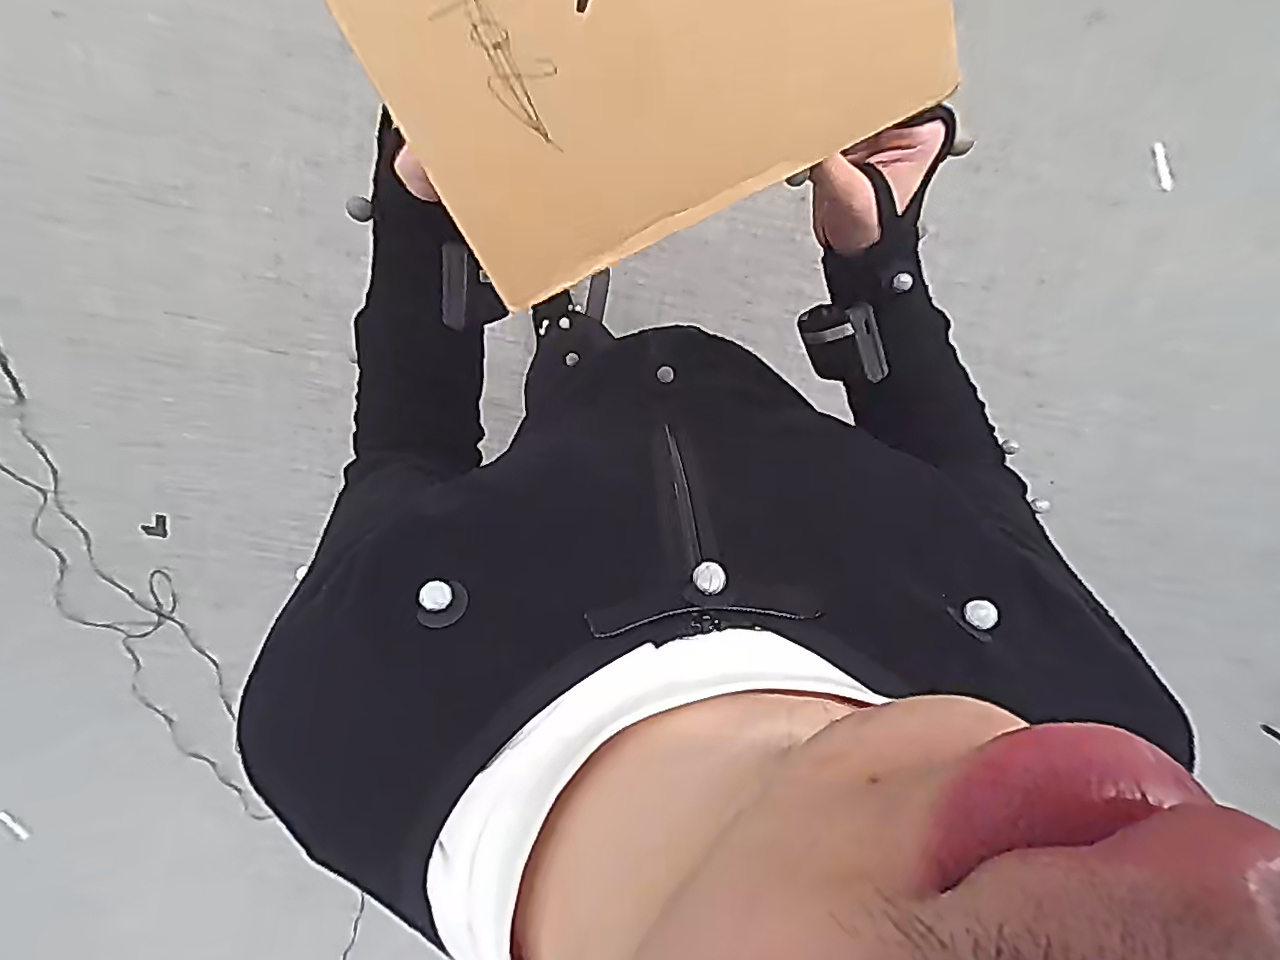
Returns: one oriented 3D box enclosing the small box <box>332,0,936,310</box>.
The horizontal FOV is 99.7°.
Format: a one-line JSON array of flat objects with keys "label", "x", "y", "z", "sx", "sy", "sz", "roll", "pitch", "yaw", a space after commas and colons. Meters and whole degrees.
[{"label": "small box", "x": -0.005, "y": -0.207, "z": 0.237, "sx": 0.179, "sy": 0.176, "sz": 0.168, "roll": -20, "pitch": 119, "yaw": 18}]
